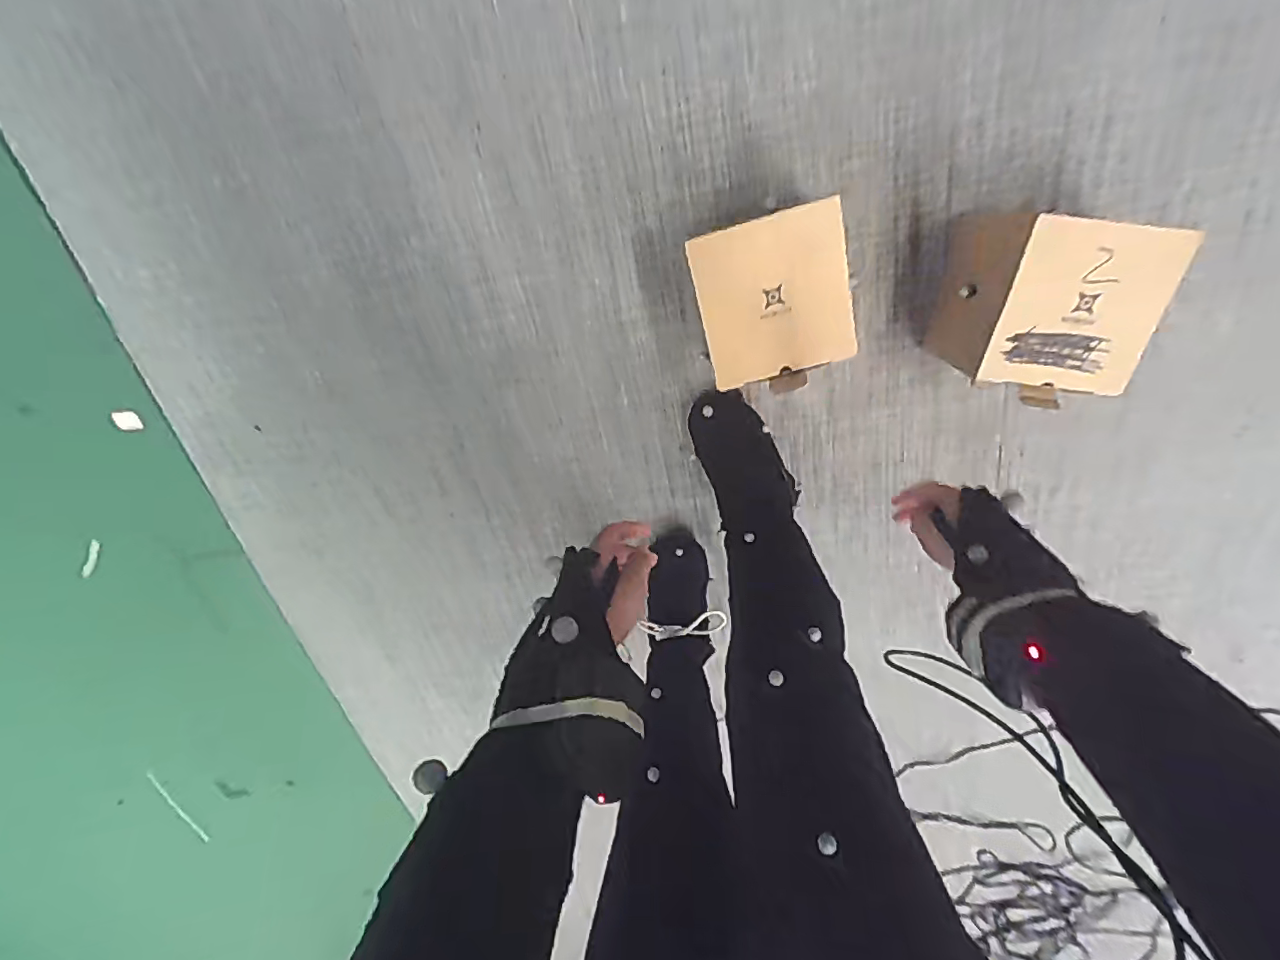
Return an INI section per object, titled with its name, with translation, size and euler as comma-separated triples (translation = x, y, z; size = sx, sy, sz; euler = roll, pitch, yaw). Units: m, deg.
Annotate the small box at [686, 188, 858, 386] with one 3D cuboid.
[small box]
translation = 0.154, -0.238, 0.667
size = 0.168, 0.176, 0.179
euler = -13, 115, 11
